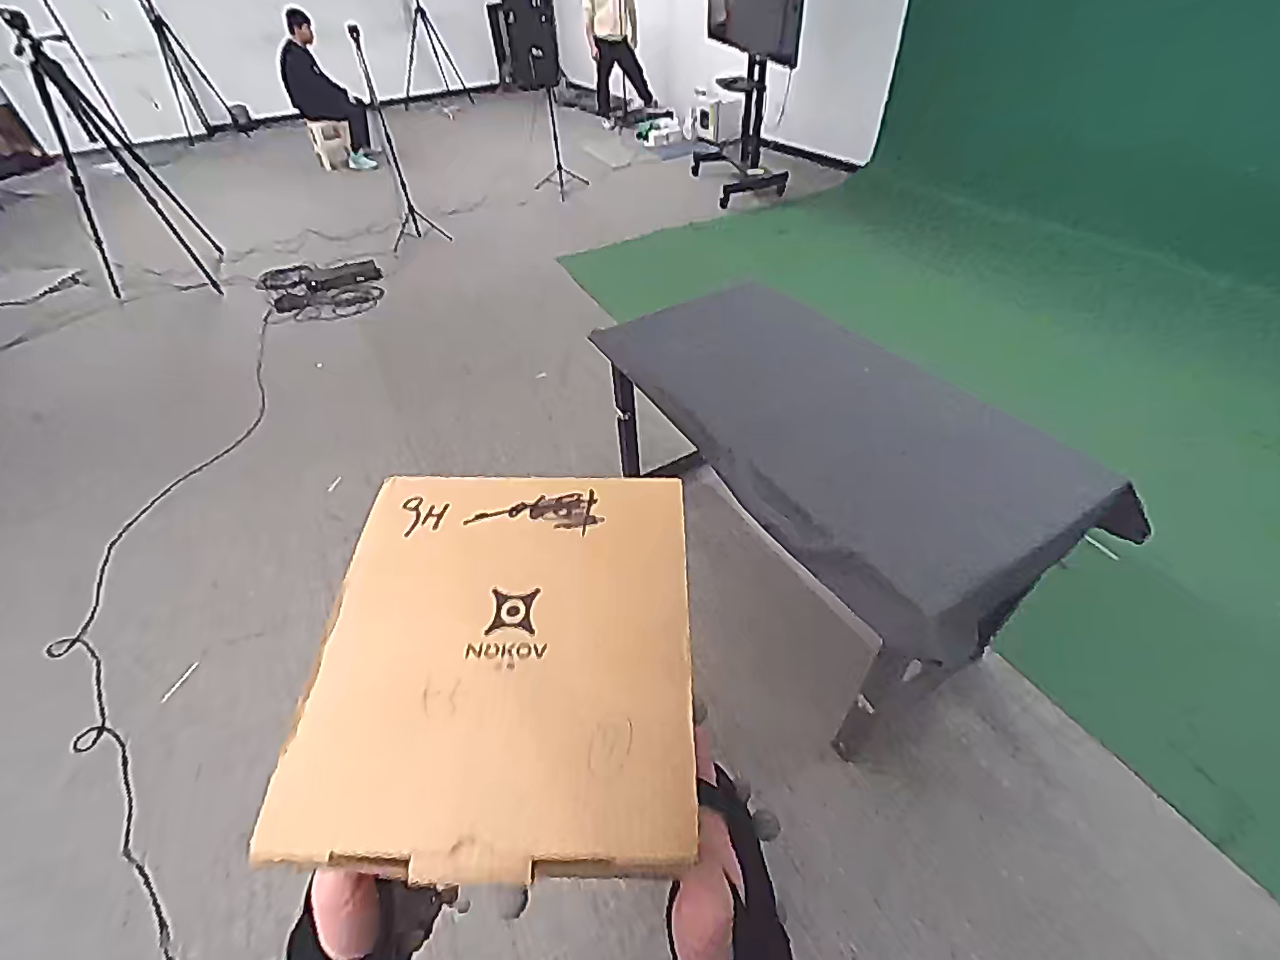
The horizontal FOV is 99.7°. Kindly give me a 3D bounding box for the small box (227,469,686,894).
[{"bbox_3d":[-0.063,0.112,0.300,0.168,0.176,0.179,1,55,-1],"label":"small box"}]
